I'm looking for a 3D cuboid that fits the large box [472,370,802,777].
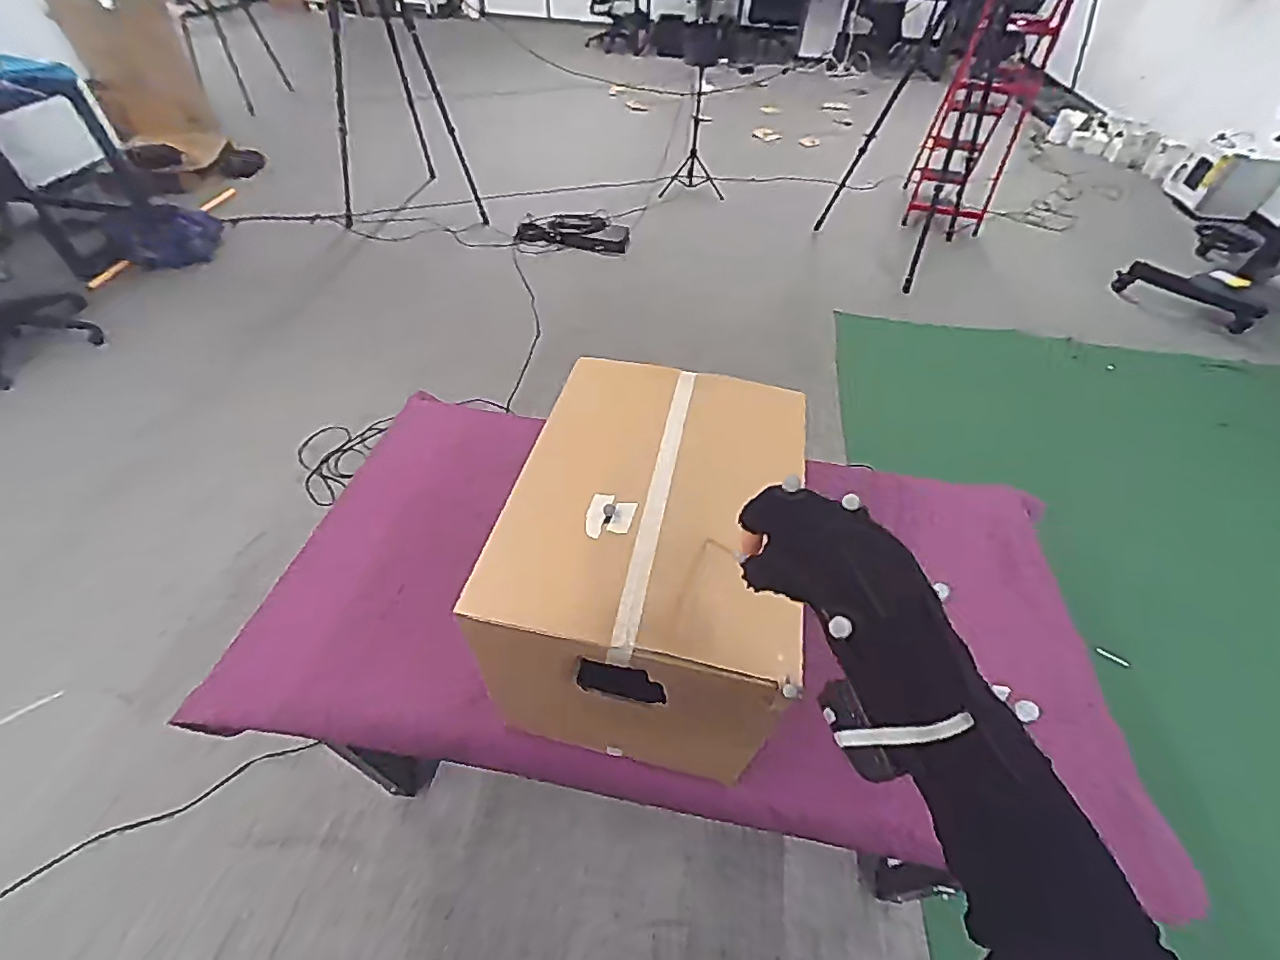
[{"bbox_3d":[0.019,0.114,0.728,0.320,0.320,0.408,11,49,6],"label":"large box"}]
